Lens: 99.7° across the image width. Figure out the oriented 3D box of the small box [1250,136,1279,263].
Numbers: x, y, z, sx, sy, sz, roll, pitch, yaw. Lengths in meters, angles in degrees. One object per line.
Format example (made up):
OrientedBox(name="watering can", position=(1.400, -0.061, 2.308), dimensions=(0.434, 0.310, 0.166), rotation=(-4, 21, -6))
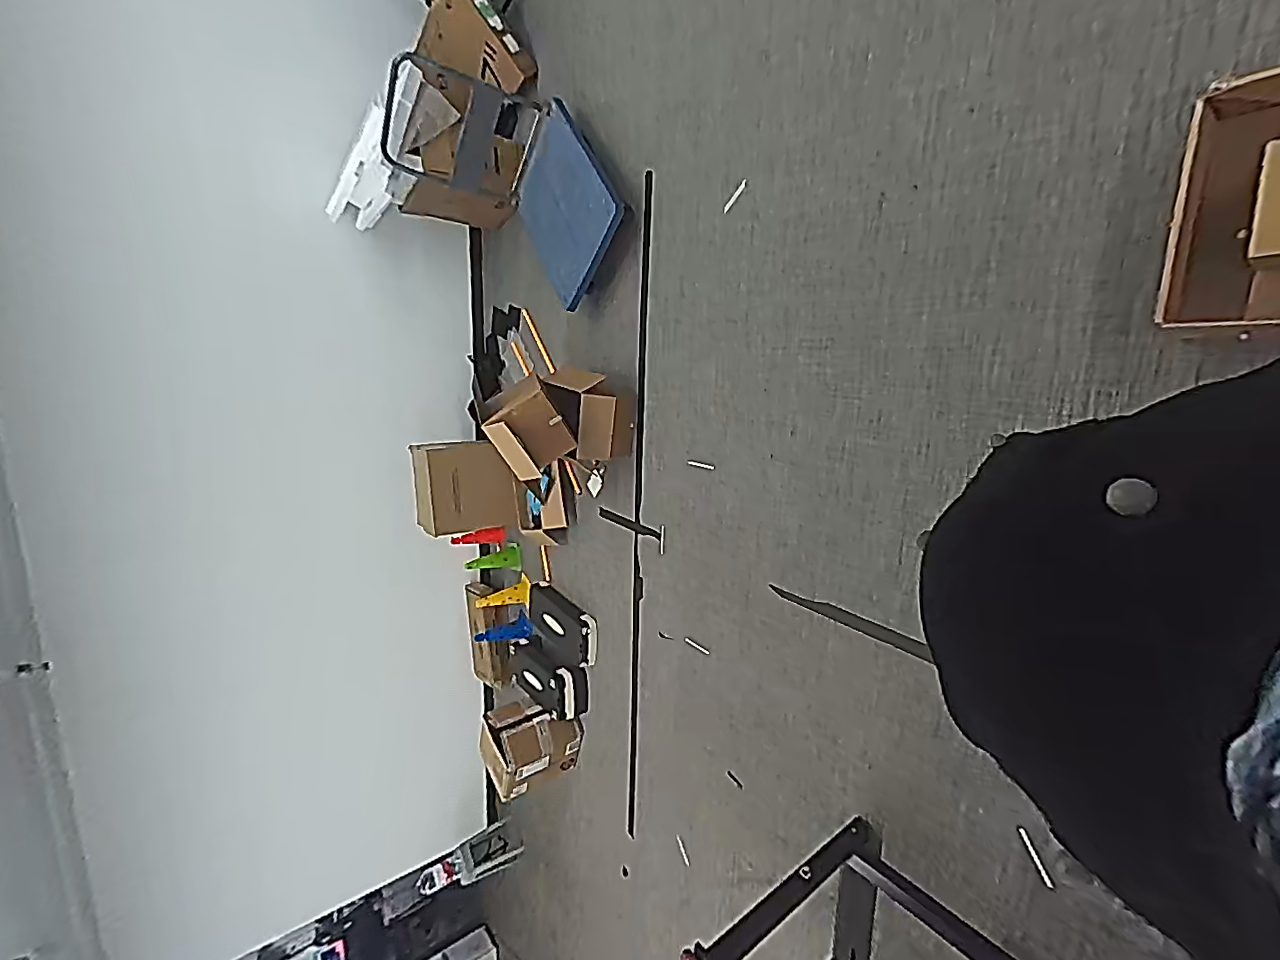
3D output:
OrientedBox(name="small box", position=(1.093, -0.444, 0.840), dimensions=(0.168, 0.176, 0.179), rotation=(12, 105, 50))
